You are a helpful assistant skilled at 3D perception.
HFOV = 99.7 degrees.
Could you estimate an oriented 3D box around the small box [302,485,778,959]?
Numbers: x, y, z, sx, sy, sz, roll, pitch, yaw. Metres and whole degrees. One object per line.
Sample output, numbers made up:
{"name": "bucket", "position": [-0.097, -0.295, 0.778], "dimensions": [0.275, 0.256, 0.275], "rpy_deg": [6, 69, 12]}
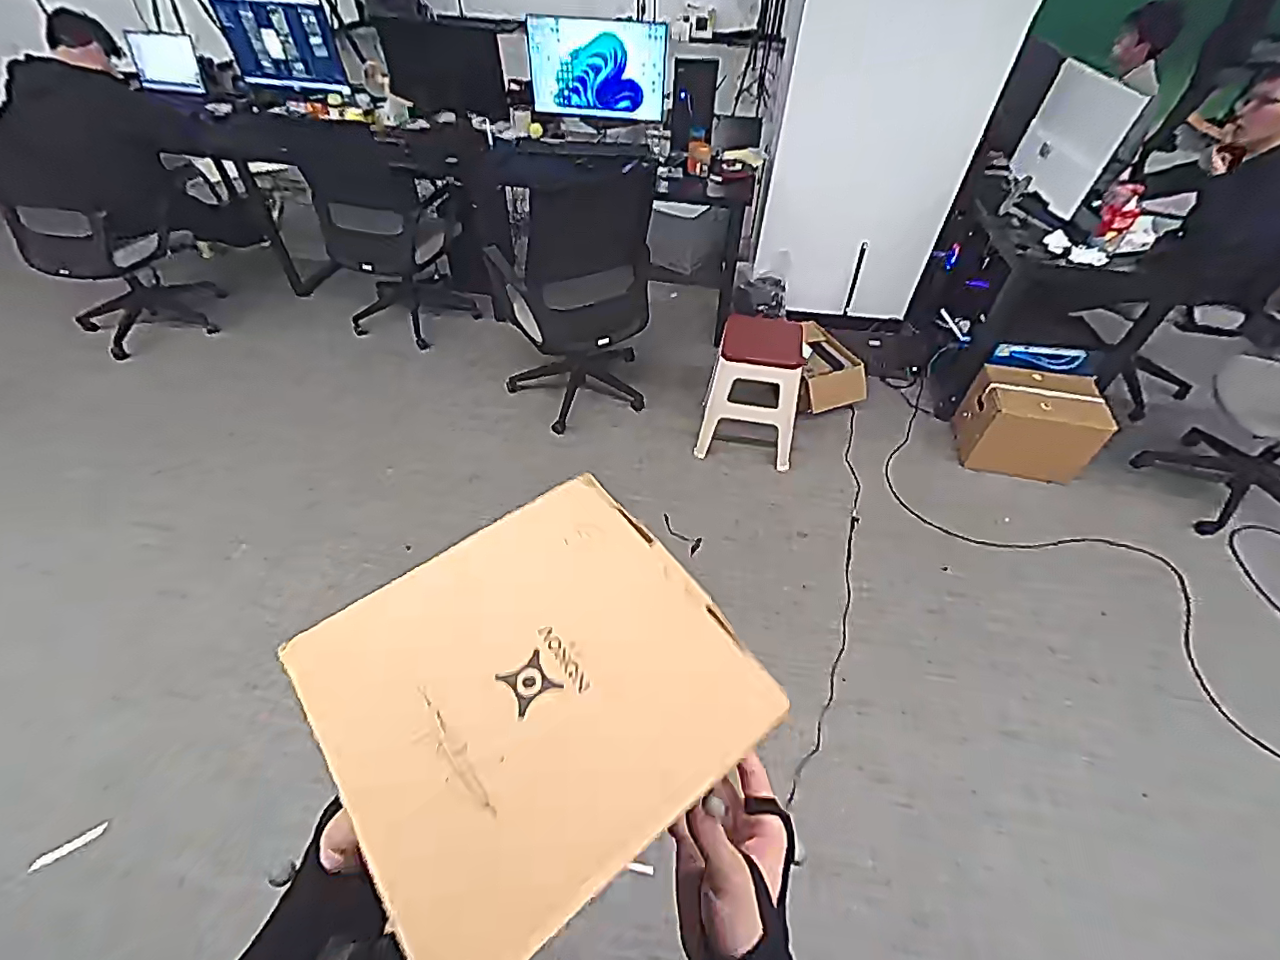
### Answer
{"name": "small box", "position": [-0.052, 0.142, 0.326], "dimensions": [0.179, 0.176, 0.168], "rpy_deg": [-33, 62, -24]}
